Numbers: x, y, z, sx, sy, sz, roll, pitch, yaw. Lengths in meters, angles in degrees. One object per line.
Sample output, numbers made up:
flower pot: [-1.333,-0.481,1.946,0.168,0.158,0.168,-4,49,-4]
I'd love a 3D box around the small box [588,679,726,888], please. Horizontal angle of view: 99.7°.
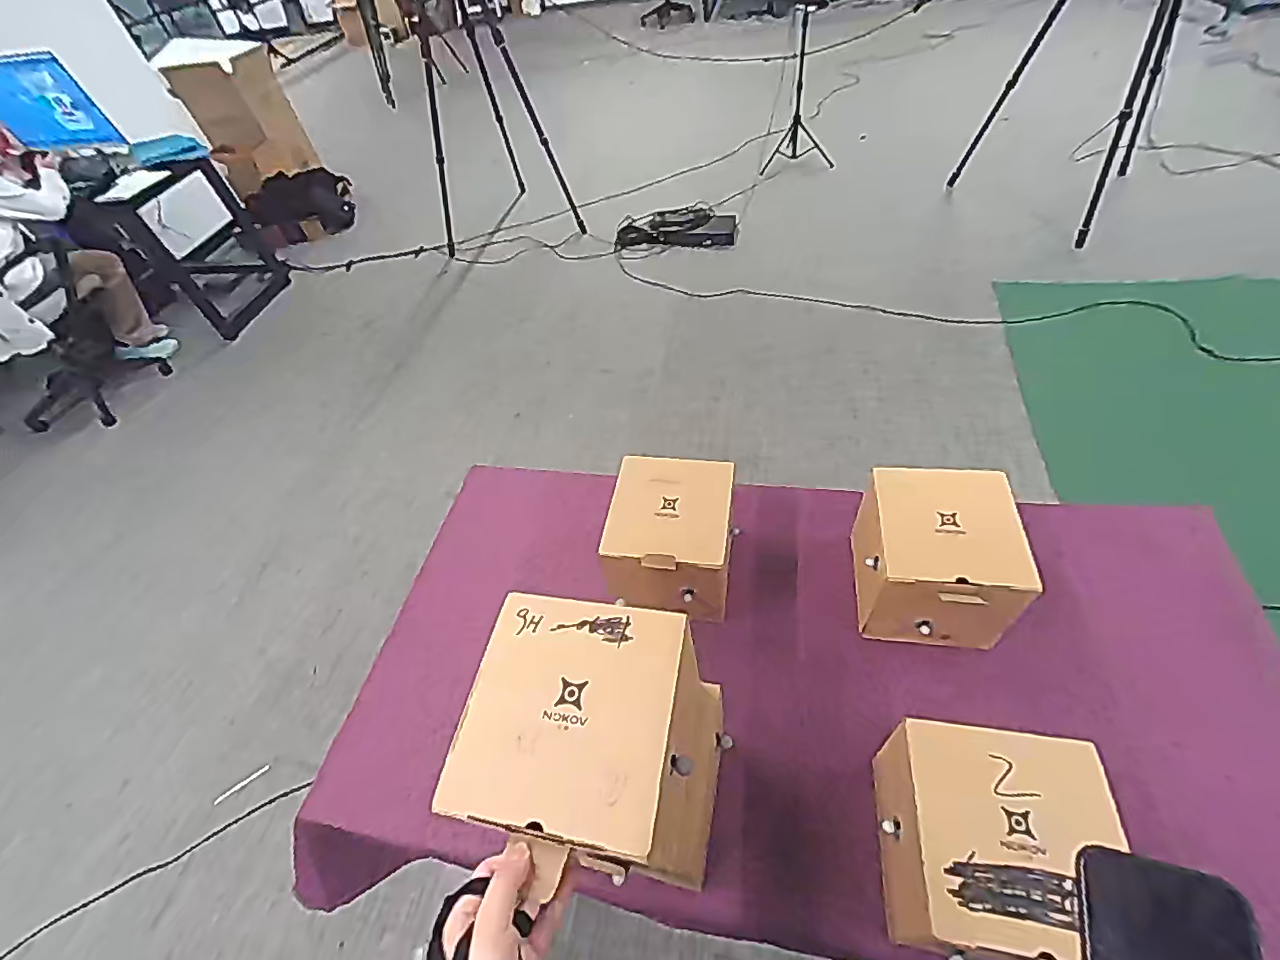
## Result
small box: [0.003,0.329,0.609,0.168,0.176,0.179,5,52,15]

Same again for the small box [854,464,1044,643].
small box: [0.394,0.099,0.730,0.168,0.176,0.179,1,52,12]

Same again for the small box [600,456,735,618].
small box: [0.052,0.087,0.801,0.168,0.176,0.179,4,52,12]

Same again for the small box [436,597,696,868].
small box: [-0.043,0.225,0.483,0.168,0.176,0.179,3,55,13]
